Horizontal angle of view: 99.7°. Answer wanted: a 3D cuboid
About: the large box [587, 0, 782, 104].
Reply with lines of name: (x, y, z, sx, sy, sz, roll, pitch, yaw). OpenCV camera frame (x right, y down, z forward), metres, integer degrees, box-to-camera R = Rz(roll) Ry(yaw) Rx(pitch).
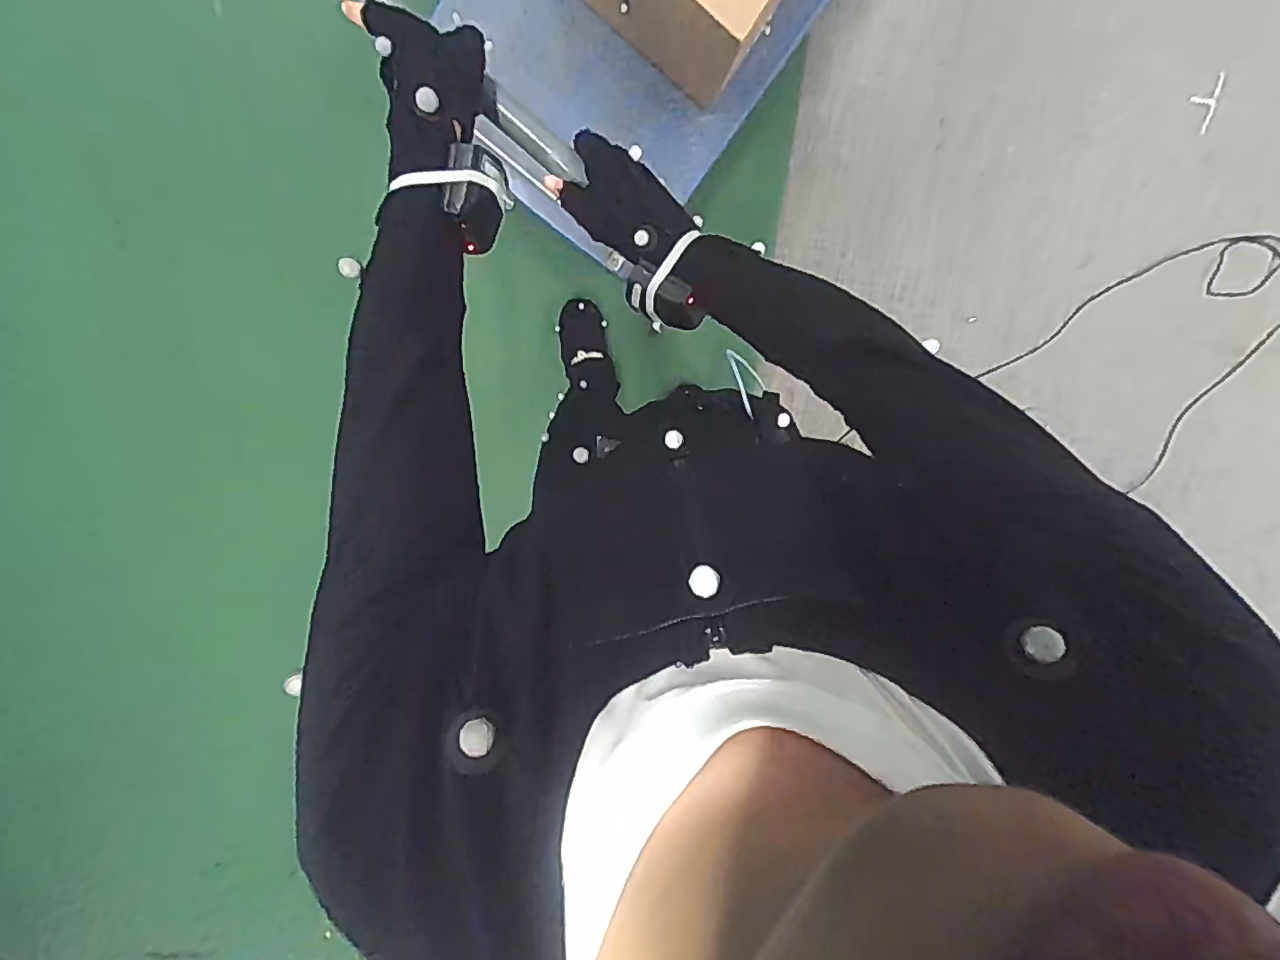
large box: (0.074, -0.917, 0.861, 0.408, 0.320, 0.320, 34, 103, -12)
